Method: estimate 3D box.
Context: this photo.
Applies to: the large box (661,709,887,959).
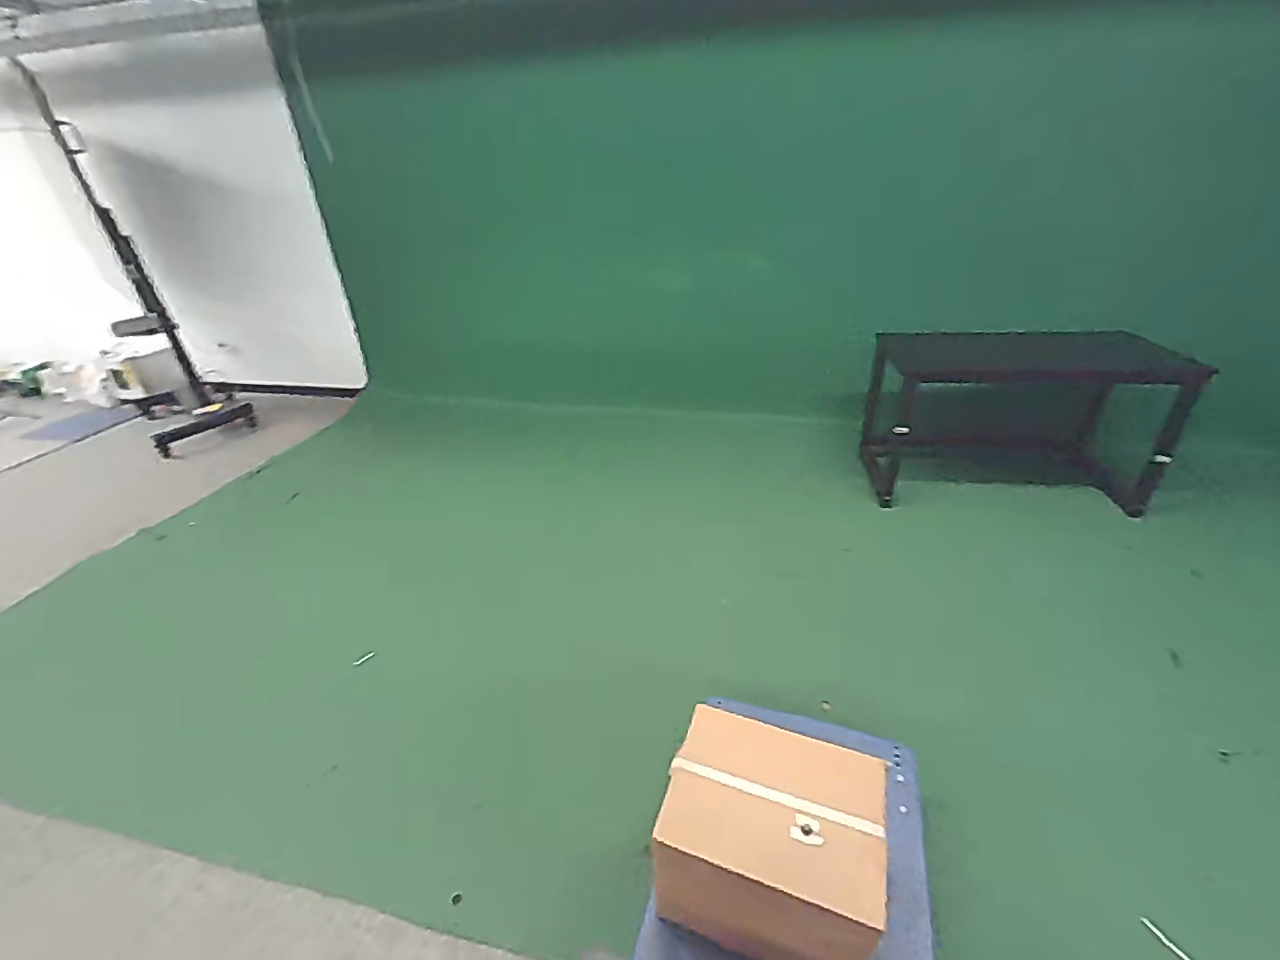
[{"bbox_3d":[0.277,0.762,1.146,0.408,0.320,0.320,10,32,19],"label":"large box"}]
